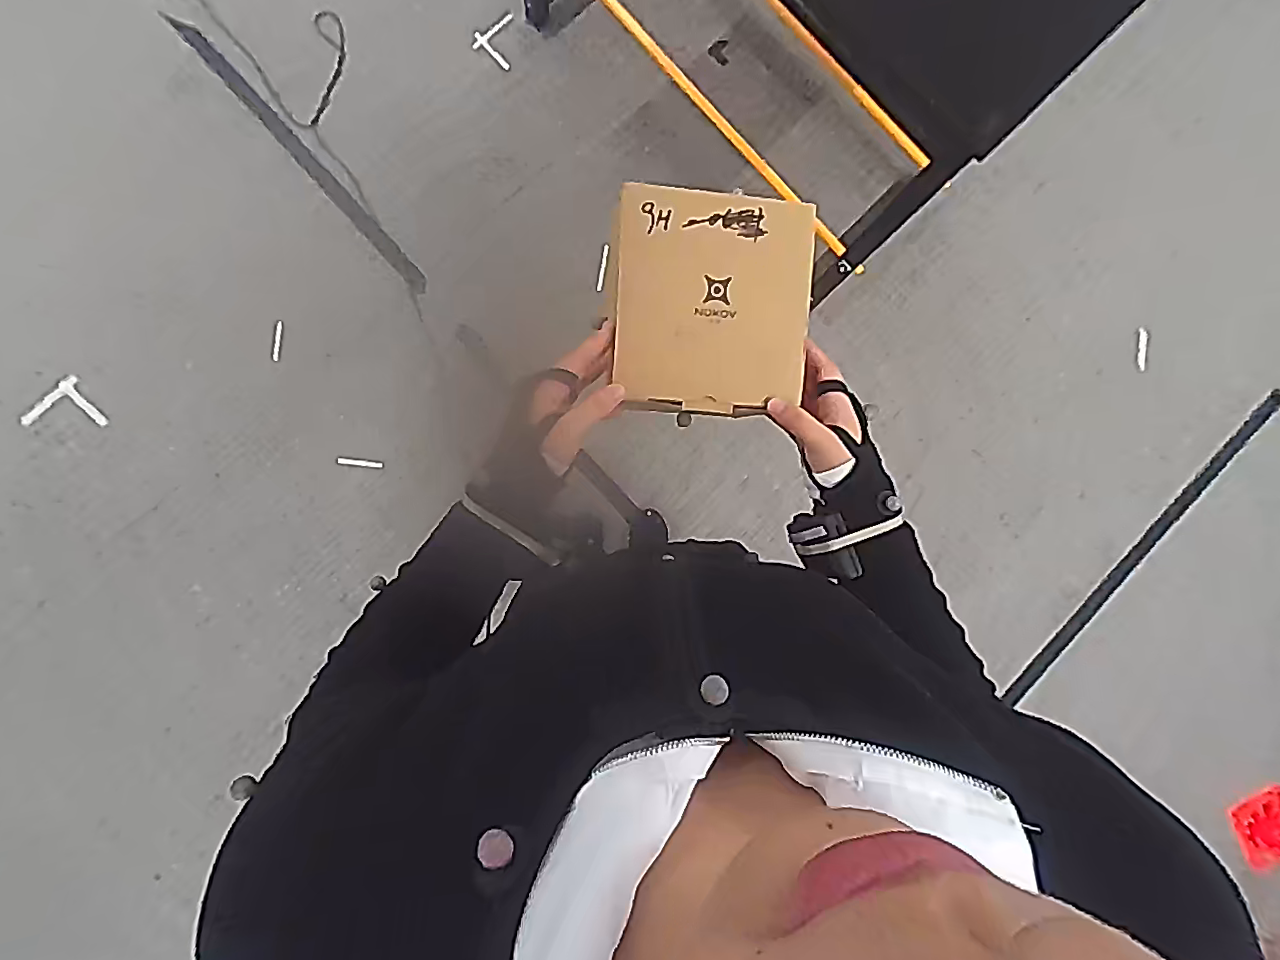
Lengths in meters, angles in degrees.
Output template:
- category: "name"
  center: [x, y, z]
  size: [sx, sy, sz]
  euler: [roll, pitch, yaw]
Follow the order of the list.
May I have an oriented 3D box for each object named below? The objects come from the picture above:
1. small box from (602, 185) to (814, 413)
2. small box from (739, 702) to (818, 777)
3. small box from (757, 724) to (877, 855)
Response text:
- category: "small box"
  center: [0.051, -0.158, 0.531]
  size: [0.168, 0.176, 0.179]
  euler: [2, 96, -8]
- category: "small box"
  center: [0.389, 0.726, 1.434]
  size: [0.179, 0.176, 0.168]
  euler: [-41, 91, -4]
- category: "small box"
  center: [0.407, 0.715, 1.273]
  size: [0.179, 0.176, 0.168]
  euler: [44, 83, 0]
